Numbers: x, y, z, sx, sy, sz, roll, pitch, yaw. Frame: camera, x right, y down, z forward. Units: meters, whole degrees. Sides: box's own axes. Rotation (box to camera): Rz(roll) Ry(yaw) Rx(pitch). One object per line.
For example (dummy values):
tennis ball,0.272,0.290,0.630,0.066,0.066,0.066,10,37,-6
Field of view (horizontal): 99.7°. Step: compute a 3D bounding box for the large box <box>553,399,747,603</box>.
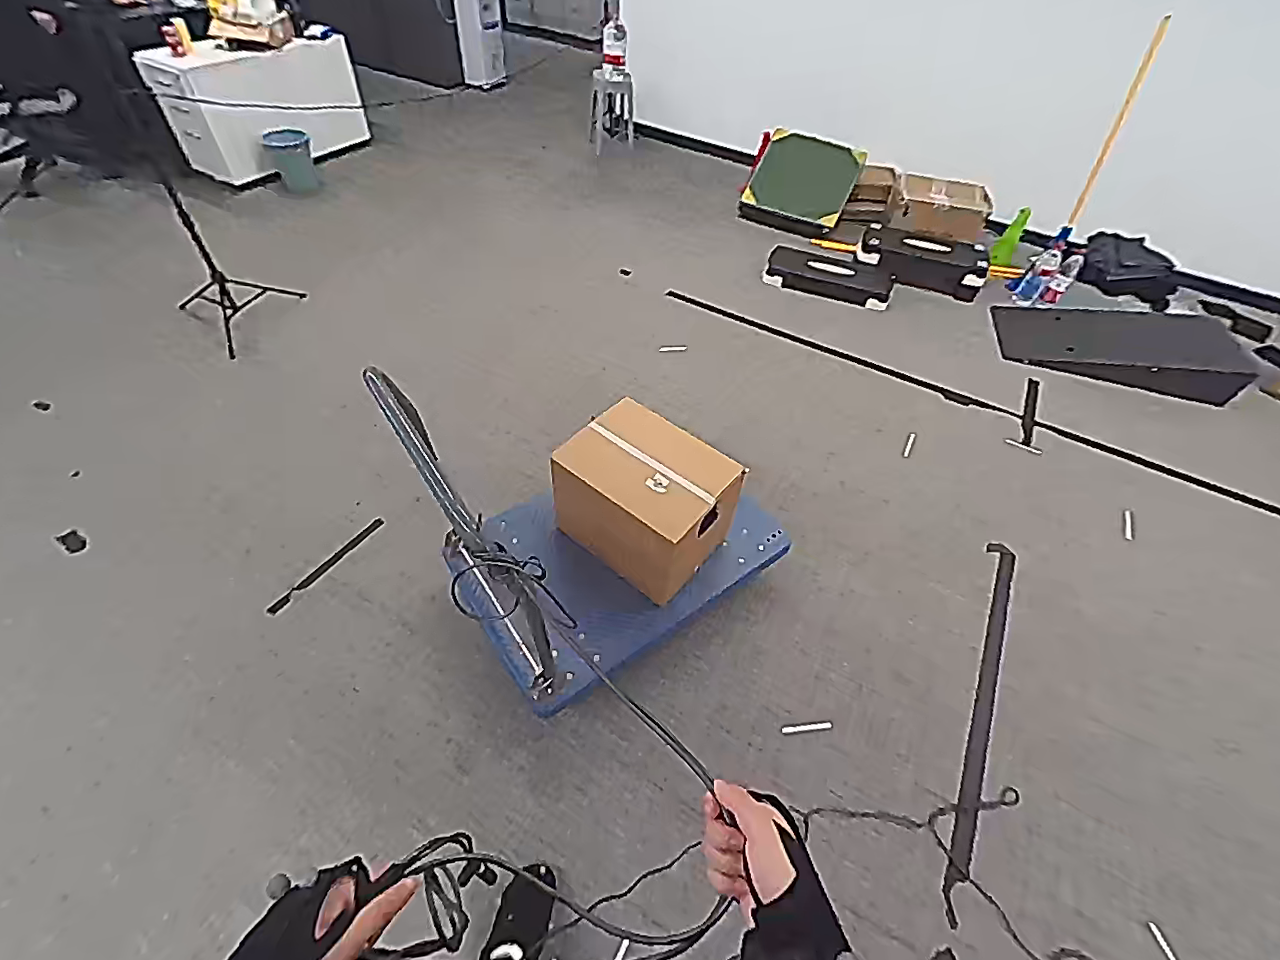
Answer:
large box,0.014,0.053,1.477,0.408,0.320,0.320,34,56,21
